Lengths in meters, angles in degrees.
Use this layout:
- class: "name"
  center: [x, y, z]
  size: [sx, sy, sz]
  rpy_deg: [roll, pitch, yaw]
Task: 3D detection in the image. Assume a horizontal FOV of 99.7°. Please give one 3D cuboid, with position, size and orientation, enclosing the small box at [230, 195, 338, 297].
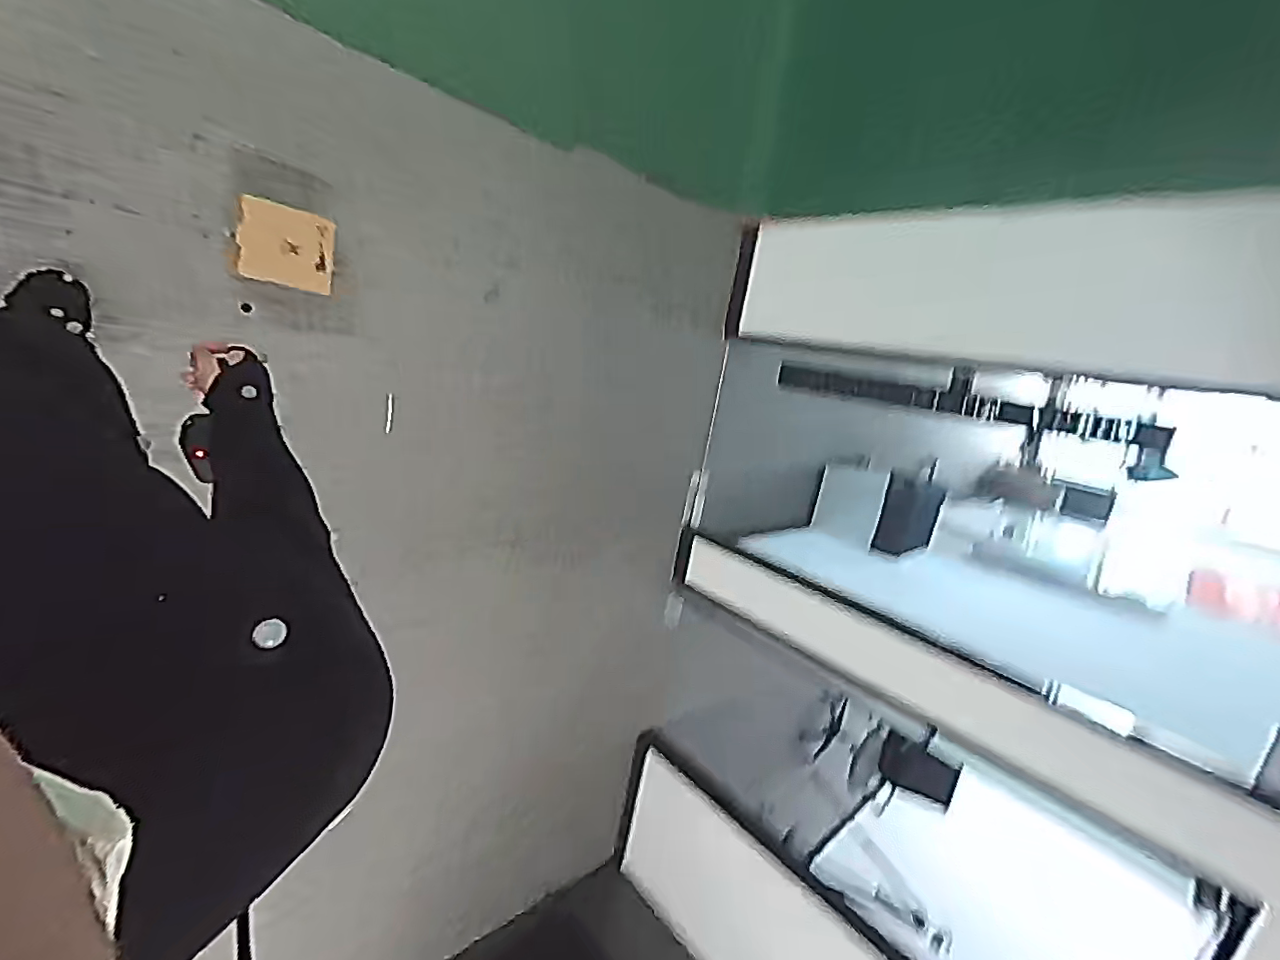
- class: "small box"
  center: [-0.815, -0.523, 1.231]
  size: [0.179, 0.176, 0.168]
  rpy_deg: [3, 105, -44]
